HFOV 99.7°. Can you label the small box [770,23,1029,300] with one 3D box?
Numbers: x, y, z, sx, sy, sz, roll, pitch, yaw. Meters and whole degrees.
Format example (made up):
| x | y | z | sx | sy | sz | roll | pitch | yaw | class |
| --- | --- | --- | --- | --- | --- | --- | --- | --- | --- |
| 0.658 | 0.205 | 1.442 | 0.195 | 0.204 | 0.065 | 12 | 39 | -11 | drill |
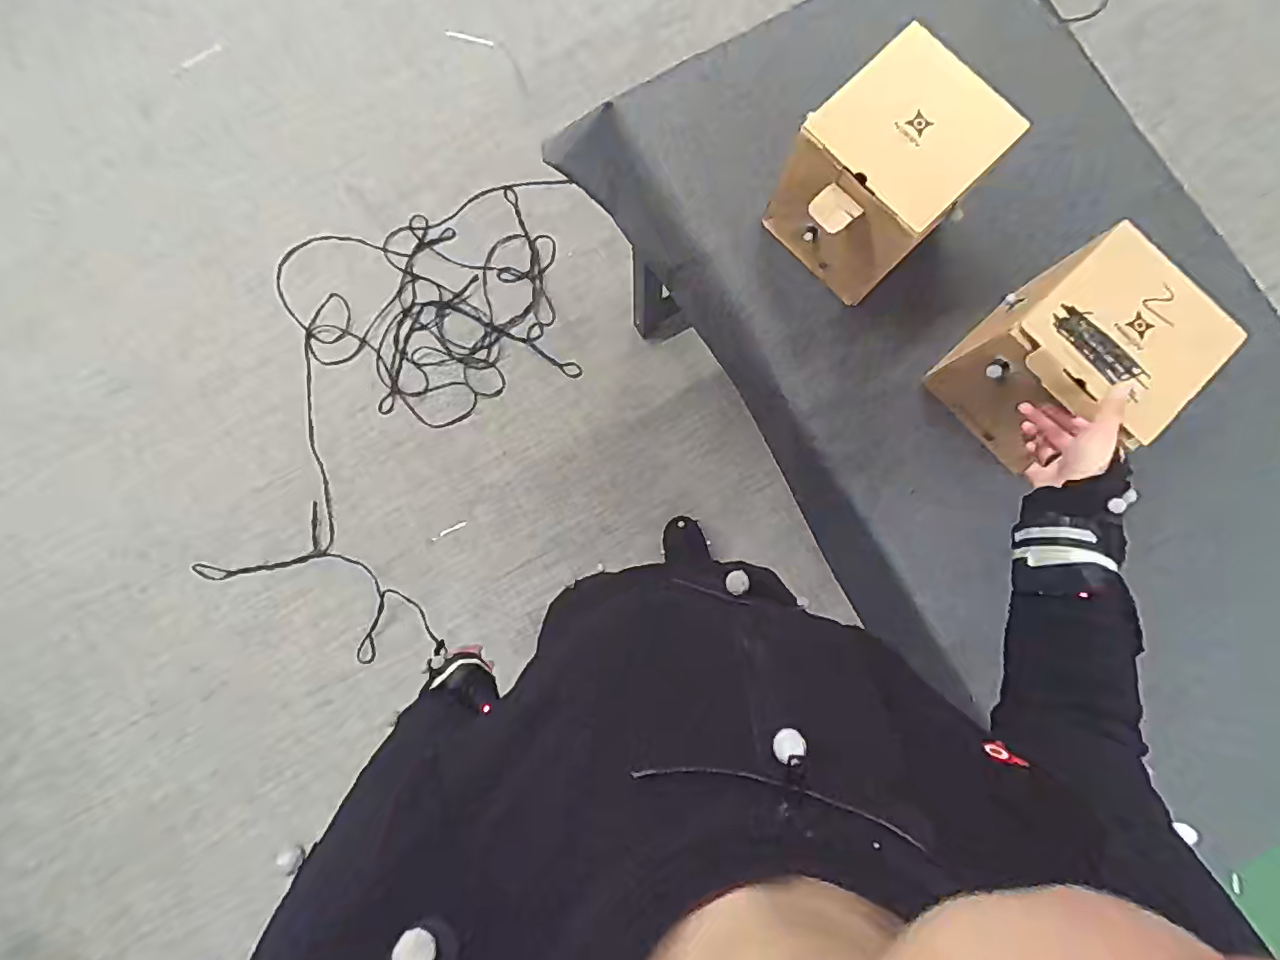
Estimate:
| x | y | z | sx | sy | sz | roll | pitch | yaw | class |
| --- | --- | --- | --- | --- | --- | --- | --- | --- | --- |
| 0.279 | -0.350 | 0.627 | 0.179 | 0.176 | 0.168 | -44 | 86 | -4 | small box |
